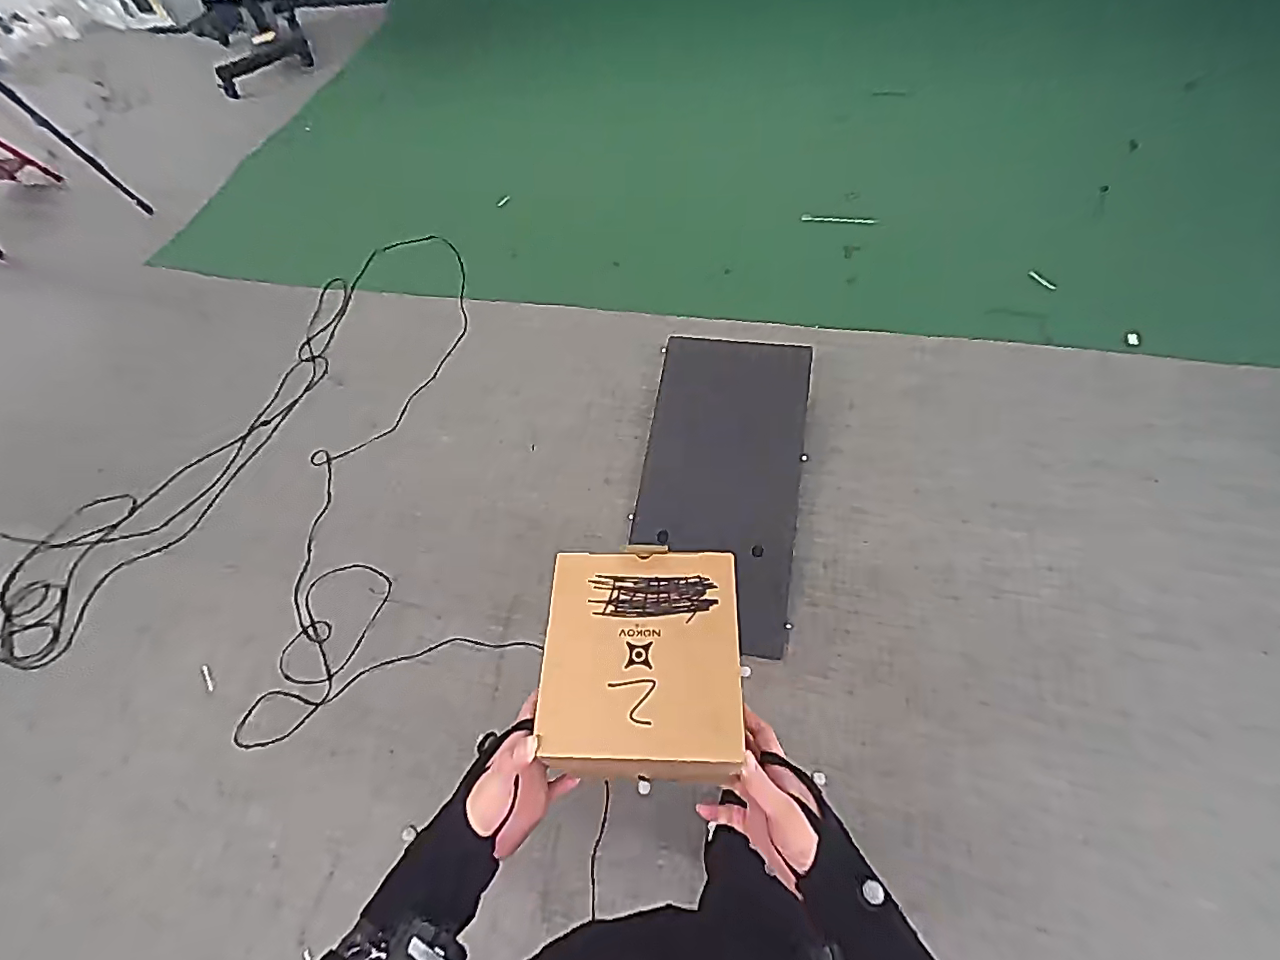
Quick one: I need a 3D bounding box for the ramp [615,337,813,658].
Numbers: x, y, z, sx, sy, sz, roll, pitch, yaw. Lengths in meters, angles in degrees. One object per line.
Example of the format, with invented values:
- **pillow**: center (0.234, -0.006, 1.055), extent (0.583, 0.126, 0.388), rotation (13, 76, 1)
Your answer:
- **ramp**: center (0.250, -0.001, 1.680), extent (0.509, 0.206, 0.991), rotation (6, 61, 10)
